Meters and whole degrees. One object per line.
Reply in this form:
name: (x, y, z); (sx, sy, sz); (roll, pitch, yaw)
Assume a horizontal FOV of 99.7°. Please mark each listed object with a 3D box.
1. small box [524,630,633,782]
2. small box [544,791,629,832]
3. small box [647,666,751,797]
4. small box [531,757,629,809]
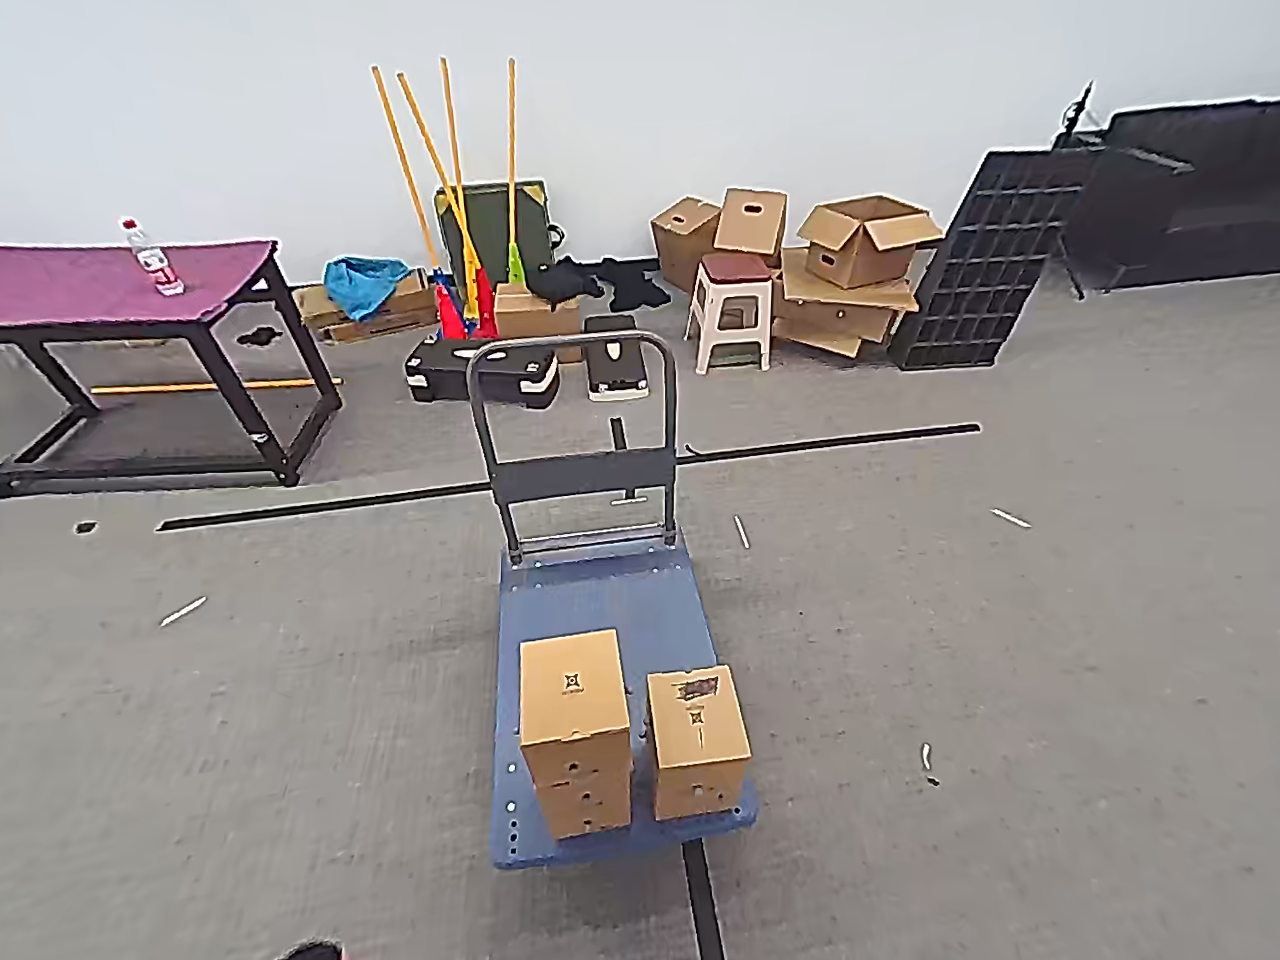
small box: (-0.106, 0.385, 0.925); (0.168, 0.176, 0.179); (-6, 44, -7)
small box: (-0.114, 0.625, 1.148); (0.168, 0.176, 0.179); (-6, 43, -7)
small box: (0.104, 0.489, 1.052); (0.168, 0.176, 0.179); (-5, 44, -5)
small box: (-0.115, 0.506, 1.033); (0.168, 0.176, 0.179); (-8, 45, -9)
